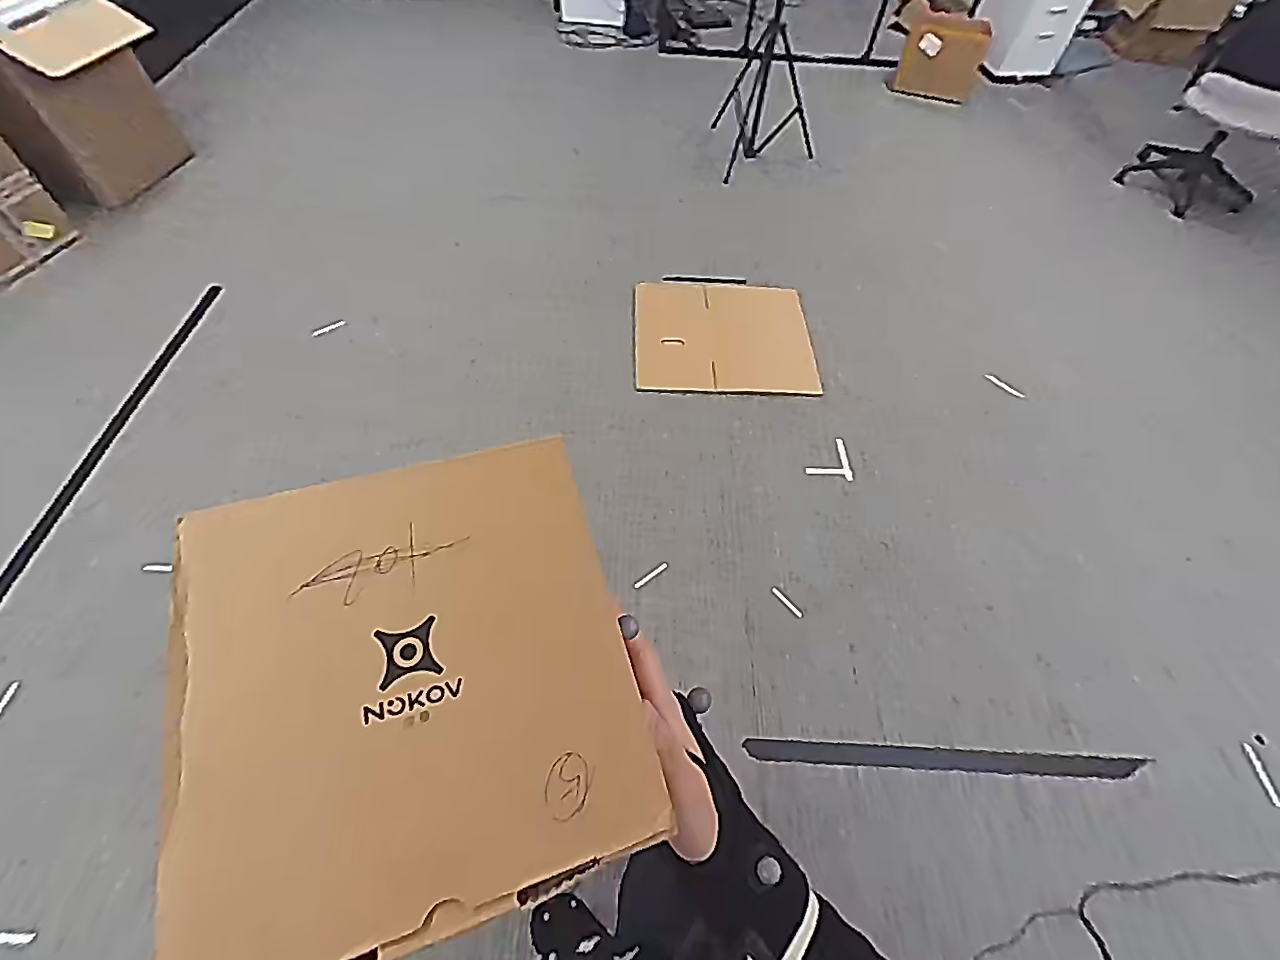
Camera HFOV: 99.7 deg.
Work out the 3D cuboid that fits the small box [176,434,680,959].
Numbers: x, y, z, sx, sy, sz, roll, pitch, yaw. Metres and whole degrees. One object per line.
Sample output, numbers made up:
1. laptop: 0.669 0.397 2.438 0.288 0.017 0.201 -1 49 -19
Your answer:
1. small box: -0.094 0.105 0.283 0.168 0.176 0.179 -13 65 -15
